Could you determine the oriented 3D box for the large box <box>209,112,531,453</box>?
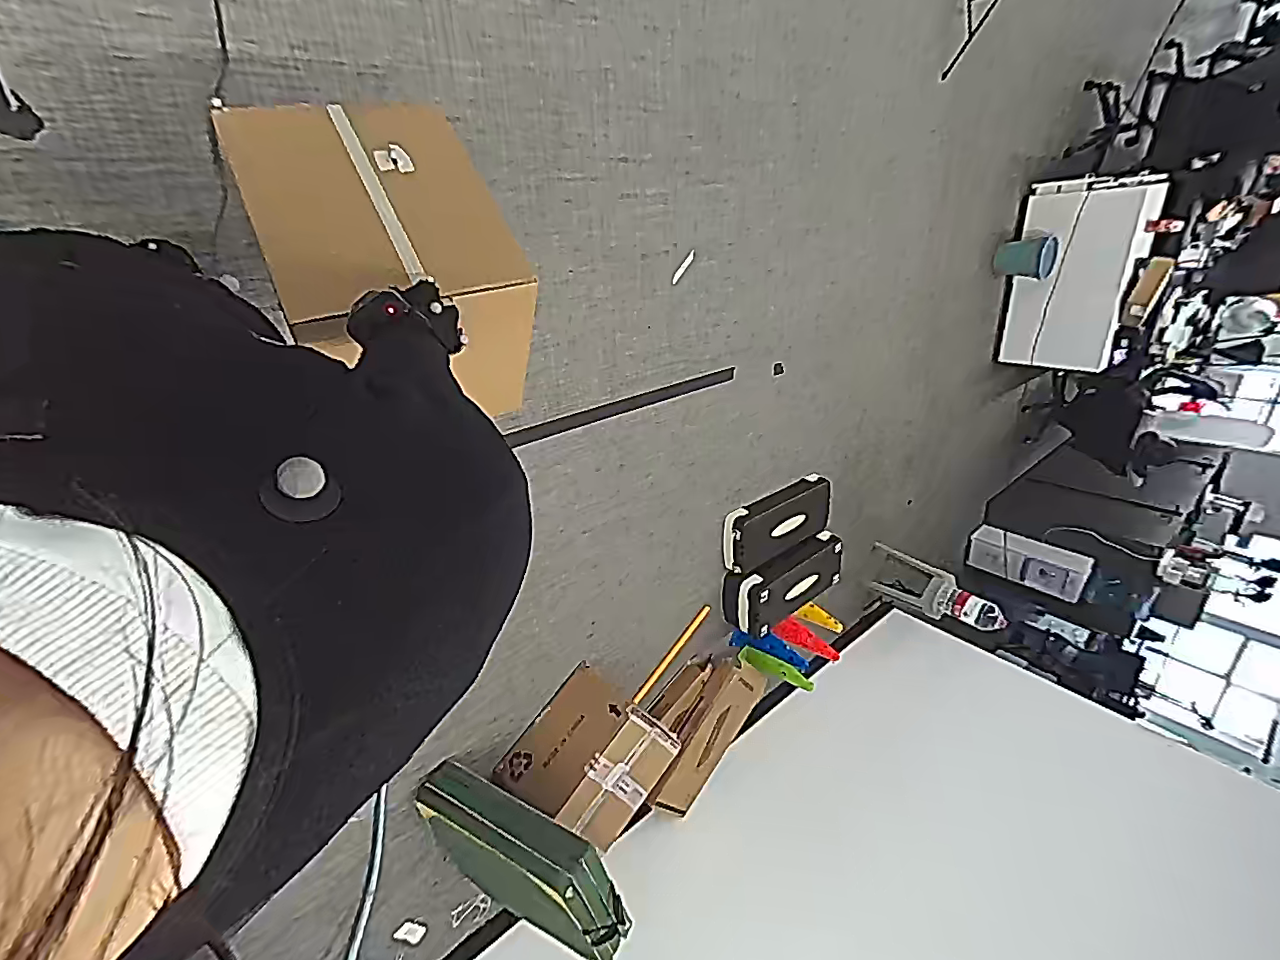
[{"bbox_3d":[-0.414,-0.320,0.887,0.320,0.408,0.320,-22,160,-28],"label":"large box"}]
